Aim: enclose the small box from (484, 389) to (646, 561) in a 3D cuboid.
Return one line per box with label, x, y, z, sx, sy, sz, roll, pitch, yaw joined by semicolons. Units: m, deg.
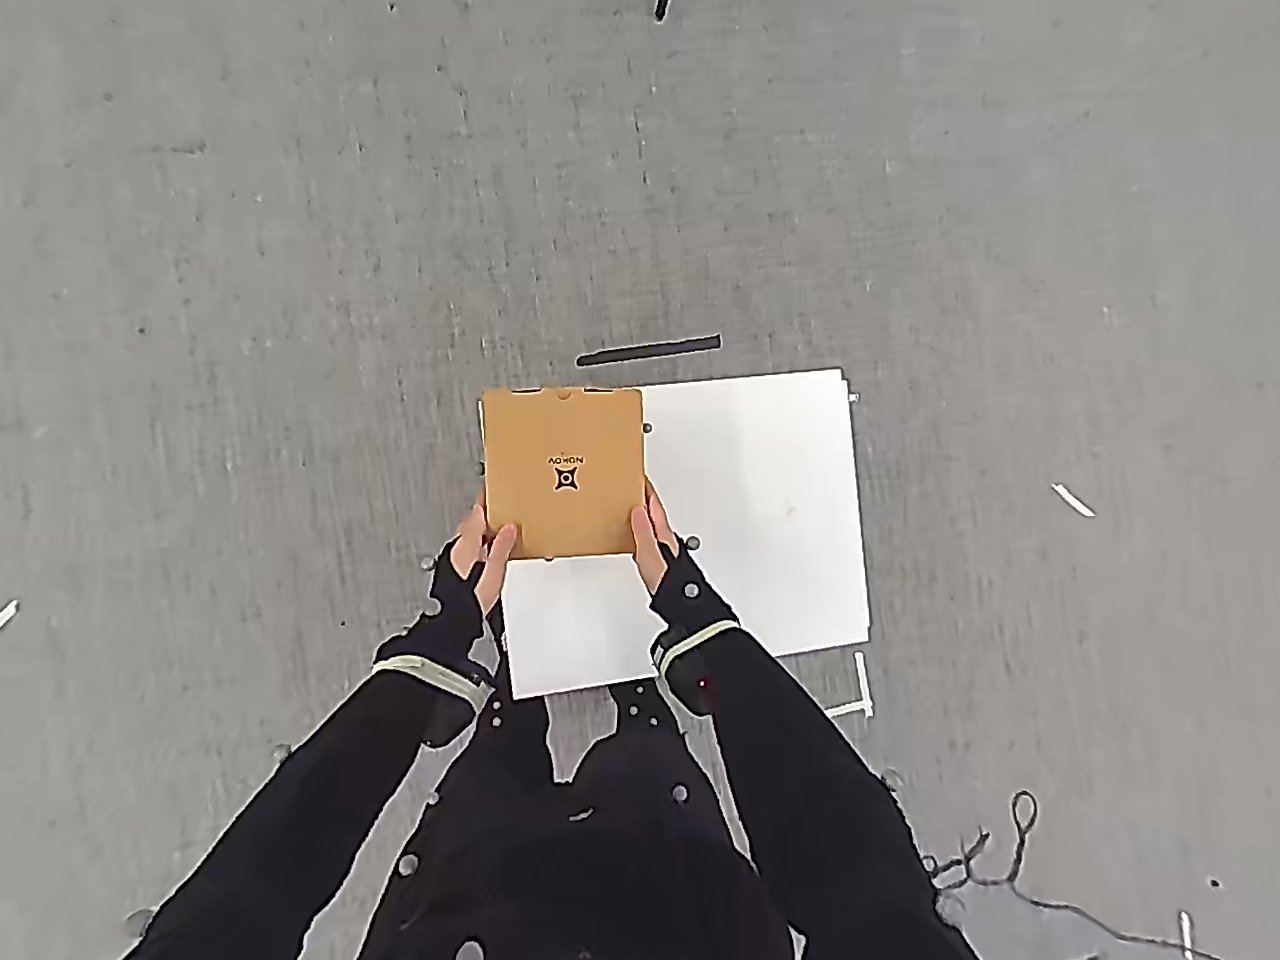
small box;-0.087;-0.008;0.639;0.168;0.176;0.179;-3;91;-9
